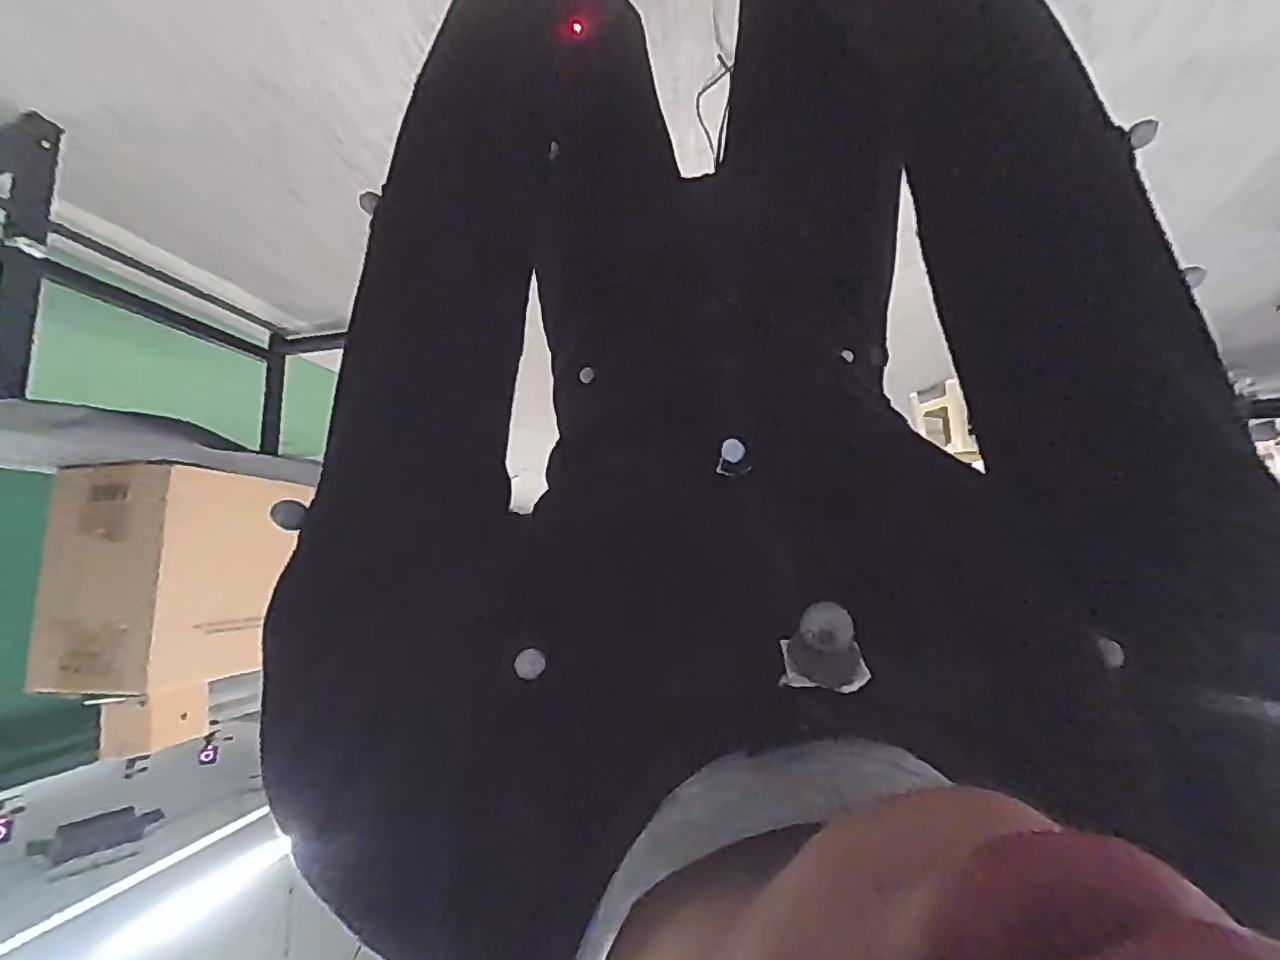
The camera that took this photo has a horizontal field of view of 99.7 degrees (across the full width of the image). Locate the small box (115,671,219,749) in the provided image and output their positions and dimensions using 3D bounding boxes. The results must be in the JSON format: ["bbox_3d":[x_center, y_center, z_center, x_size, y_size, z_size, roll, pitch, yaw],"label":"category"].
[{"bbox_3d":[-1.413,0.683,1.620,0.168,0.176,0.179,-8,171,8],"label":"small box"}]
